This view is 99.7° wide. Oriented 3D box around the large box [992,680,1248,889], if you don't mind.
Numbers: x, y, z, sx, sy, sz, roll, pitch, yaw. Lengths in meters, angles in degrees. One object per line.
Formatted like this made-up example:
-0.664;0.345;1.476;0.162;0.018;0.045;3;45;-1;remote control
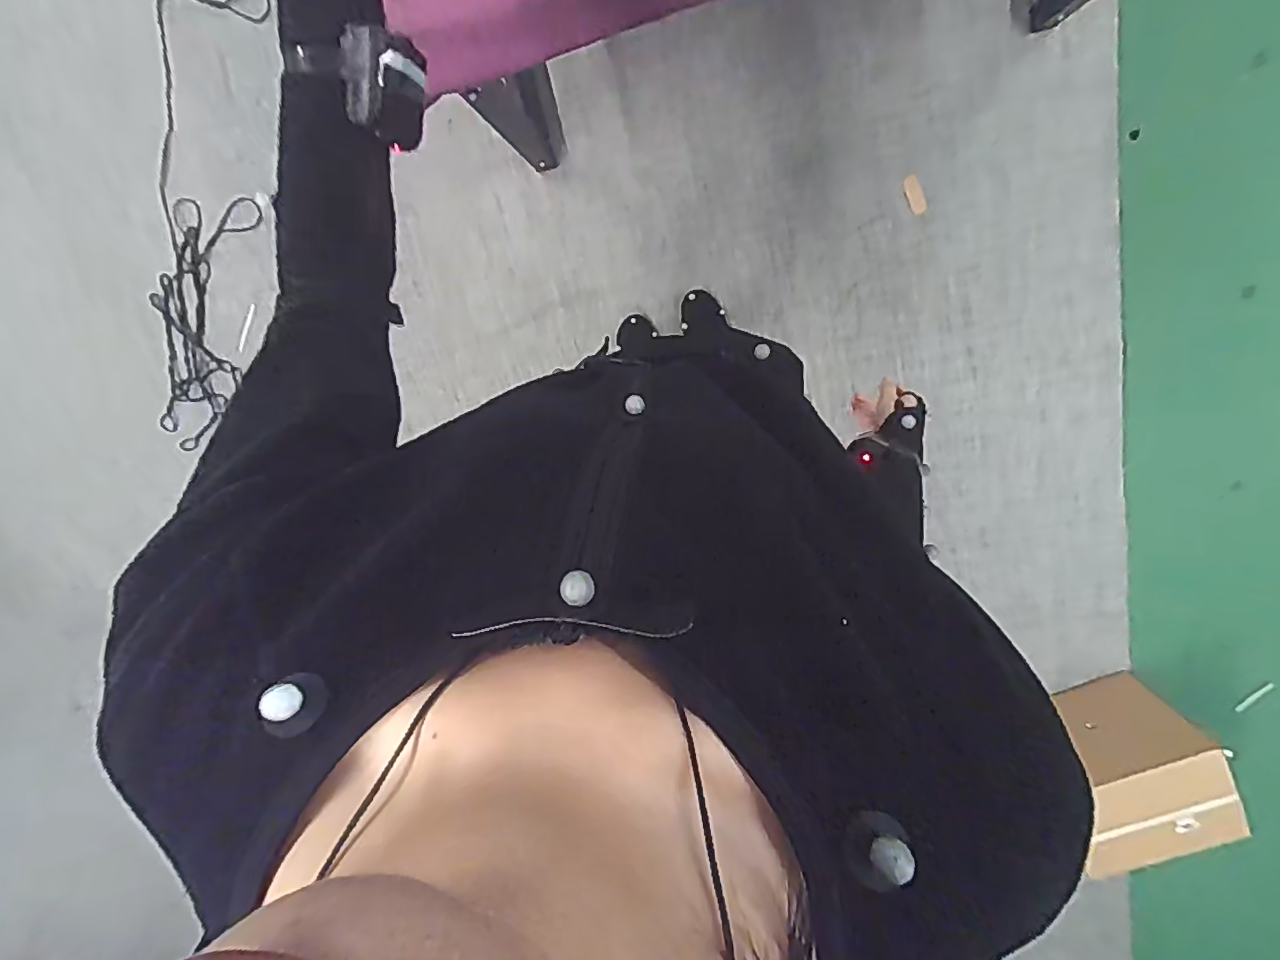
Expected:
1.325;0.845;1.532;0.408;0.320;0.320;-27;103;10;large box

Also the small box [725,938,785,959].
0.329;1.454;1.528;0.168;0.176;0.179;5;108;2;small box
